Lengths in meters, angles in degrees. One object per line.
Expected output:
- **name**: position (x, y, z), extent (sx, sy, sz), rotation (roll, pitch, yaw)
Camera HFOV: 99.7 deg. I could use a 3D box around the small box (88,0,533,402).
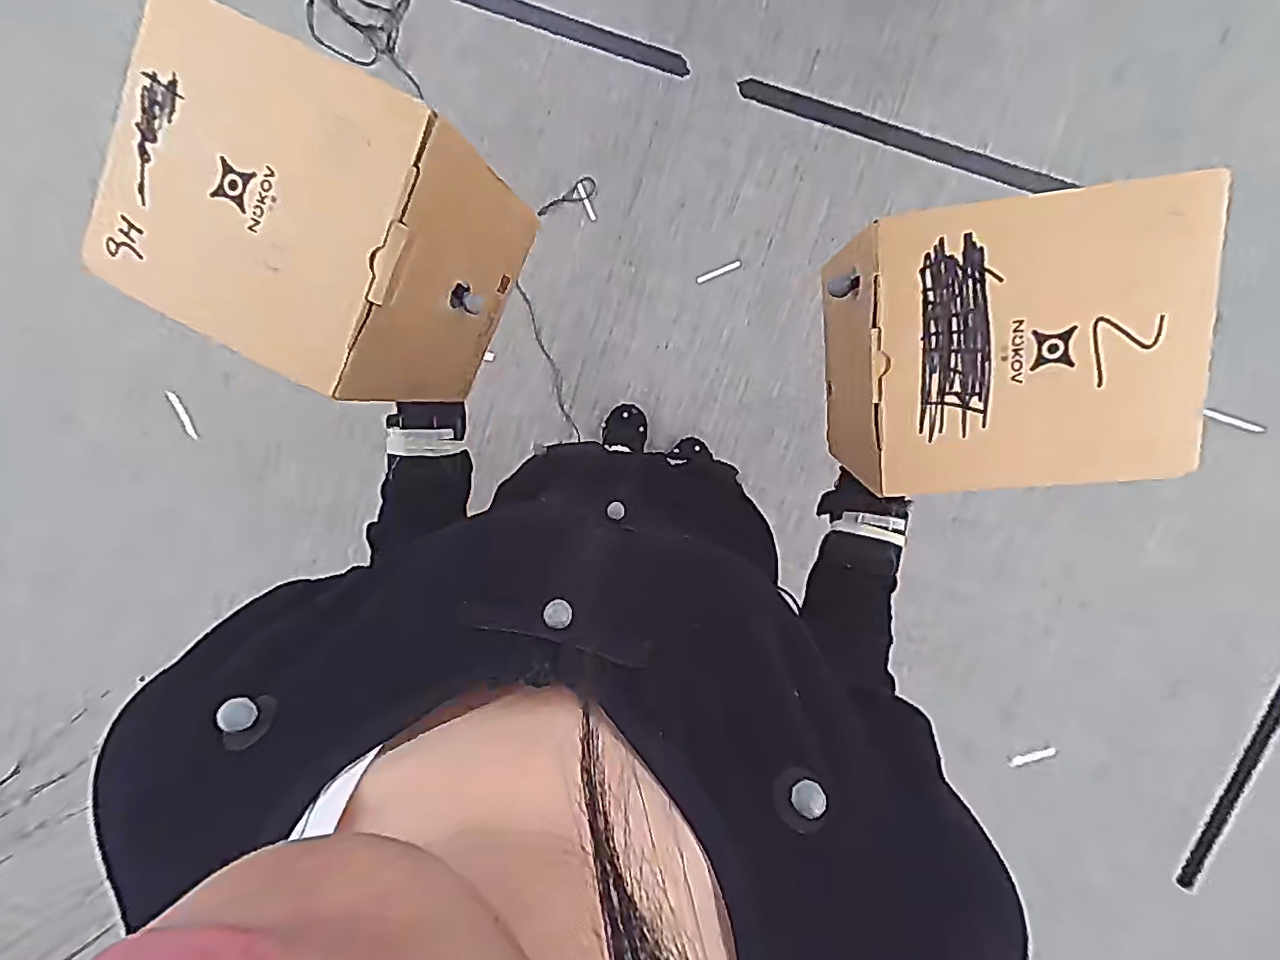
- **small box**: position (-0.198, -0.167, 0.374), extent (0.179, 0.176, 0.168), rotation (27, 100, 2)
